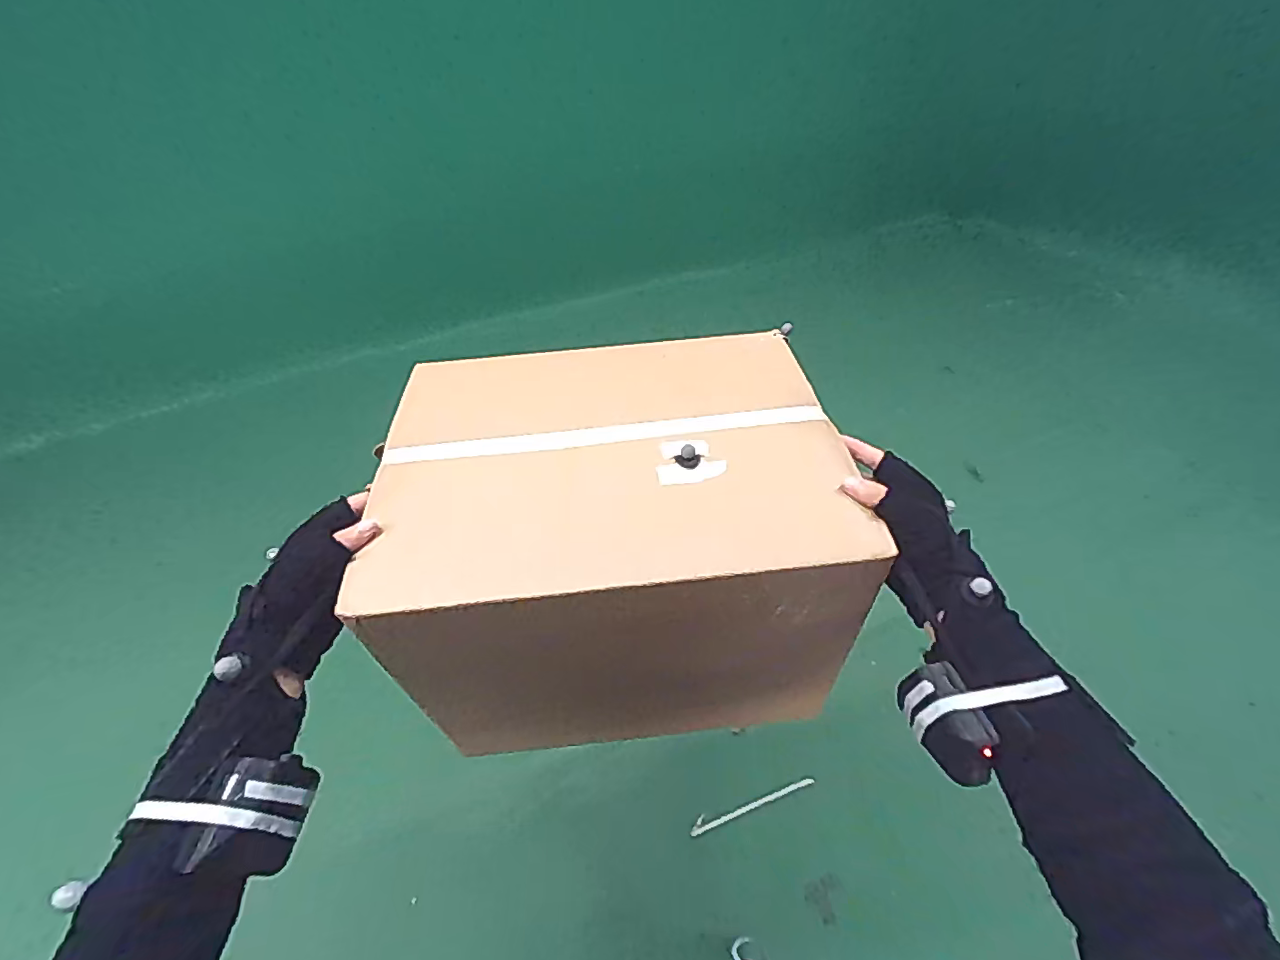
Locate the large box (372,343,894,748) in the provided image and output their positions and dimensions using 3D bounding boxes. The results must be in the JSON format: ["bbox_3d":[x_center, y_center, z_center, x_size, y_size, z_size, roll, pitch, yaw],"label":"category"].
[{"bbox_3d":[-0.012,0.073,0.611,0.408,0.320,0.320,-5,47,-2],"label":"large box"}]
